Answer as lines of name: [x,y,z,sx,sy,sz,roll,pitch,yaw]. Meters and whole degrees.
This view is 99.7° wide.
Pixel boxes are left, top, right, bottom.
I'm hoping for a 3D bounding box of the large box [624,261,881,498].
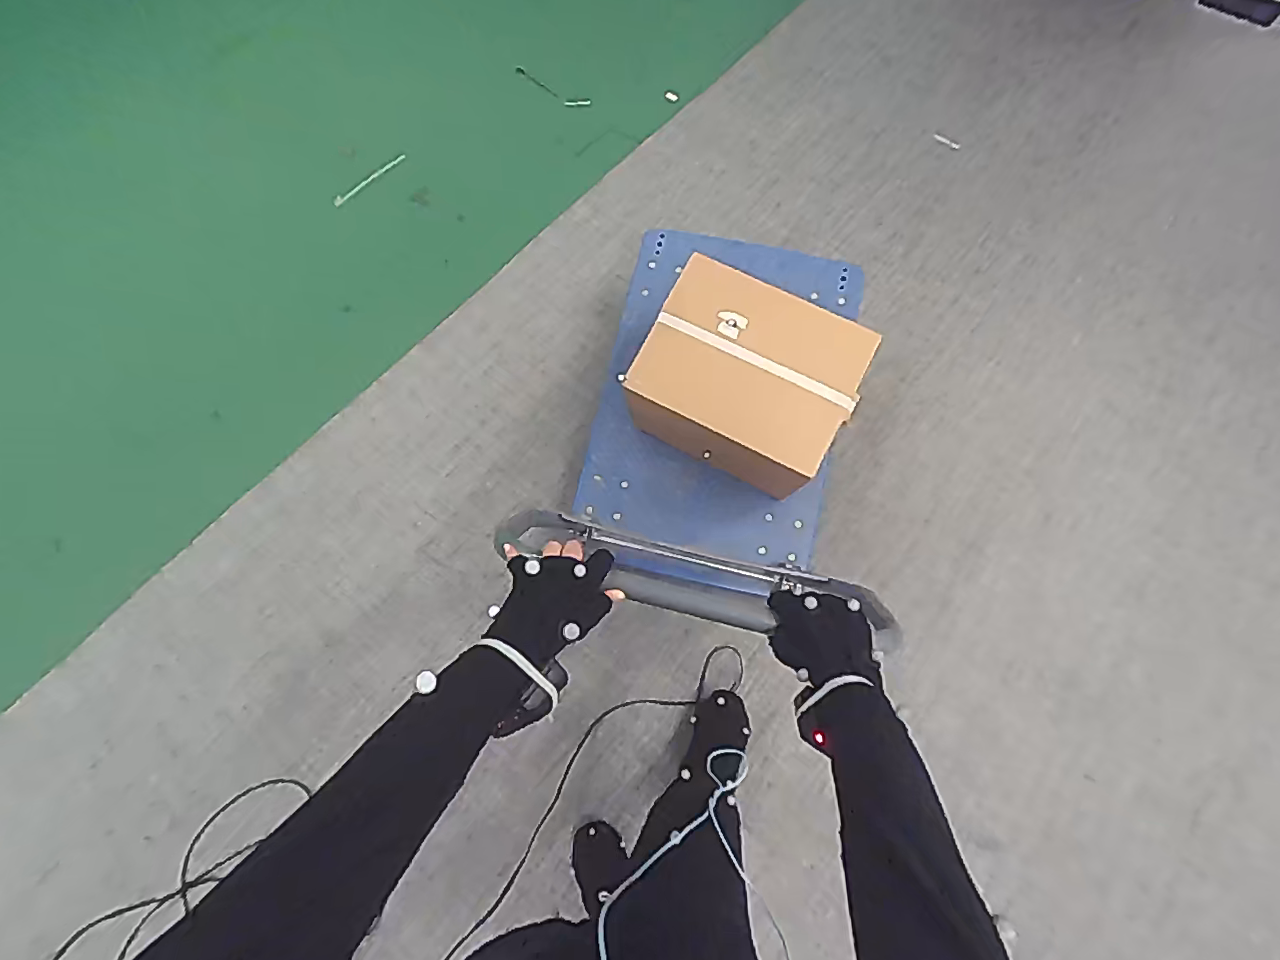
large box: [0.227,-0.194,1.178,0.408,0.320,0.320,28,83,8]
